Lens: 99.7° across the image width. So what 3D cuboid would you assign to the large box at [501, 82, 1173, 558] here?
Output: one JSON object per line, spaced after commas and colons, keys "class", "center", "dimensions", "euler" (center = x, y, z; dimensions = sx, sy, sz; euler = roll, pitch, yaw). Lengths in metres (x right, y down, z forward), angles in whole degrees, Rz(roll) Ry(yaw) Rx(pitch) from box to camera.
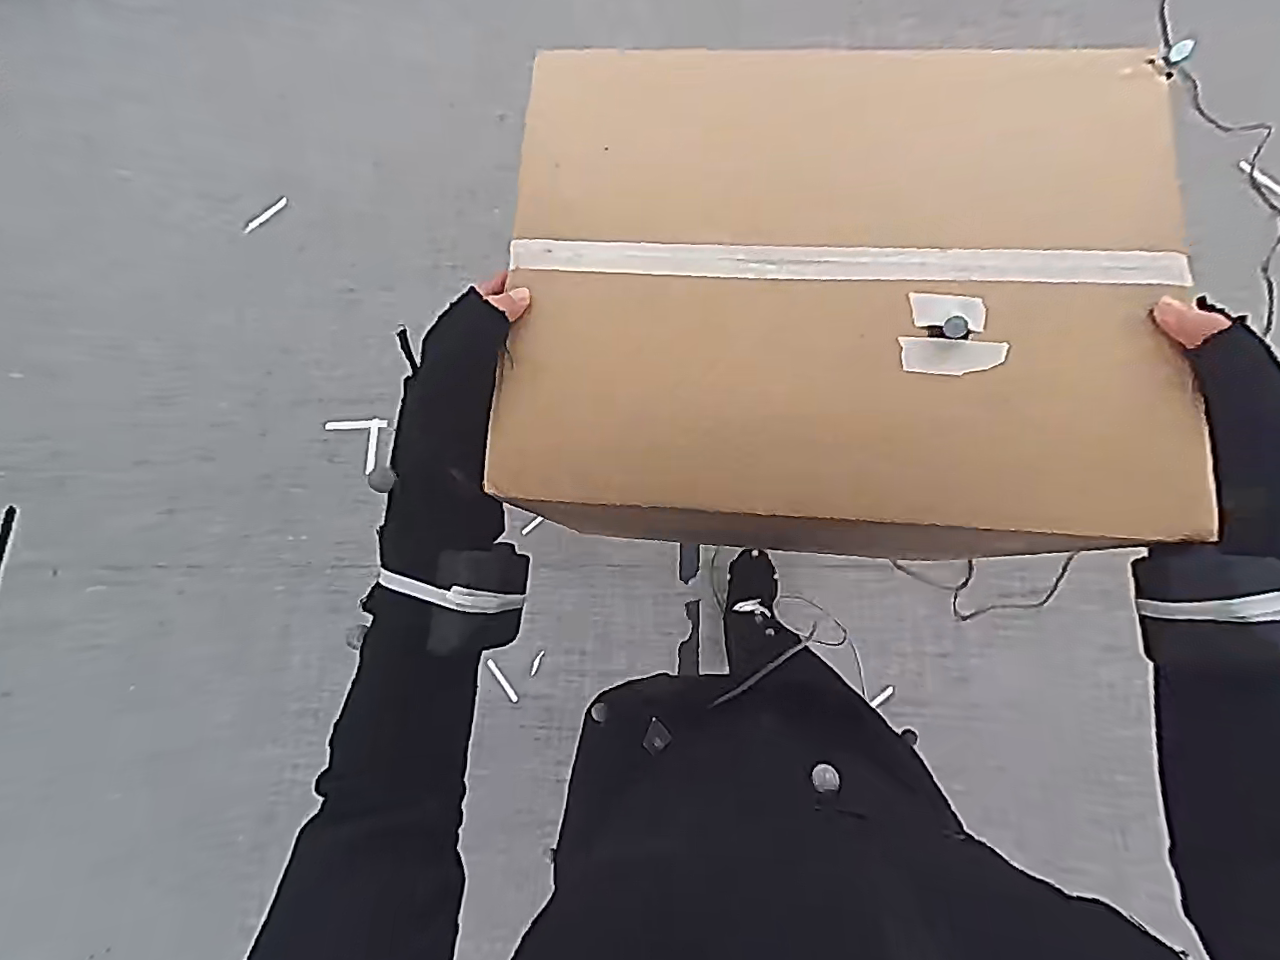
{"class": "large box", "center": [0.125, -0.097, 0.494], "dimensions": [0.408, 0.320, 0.320], "euler": [3, 81, 4]}
